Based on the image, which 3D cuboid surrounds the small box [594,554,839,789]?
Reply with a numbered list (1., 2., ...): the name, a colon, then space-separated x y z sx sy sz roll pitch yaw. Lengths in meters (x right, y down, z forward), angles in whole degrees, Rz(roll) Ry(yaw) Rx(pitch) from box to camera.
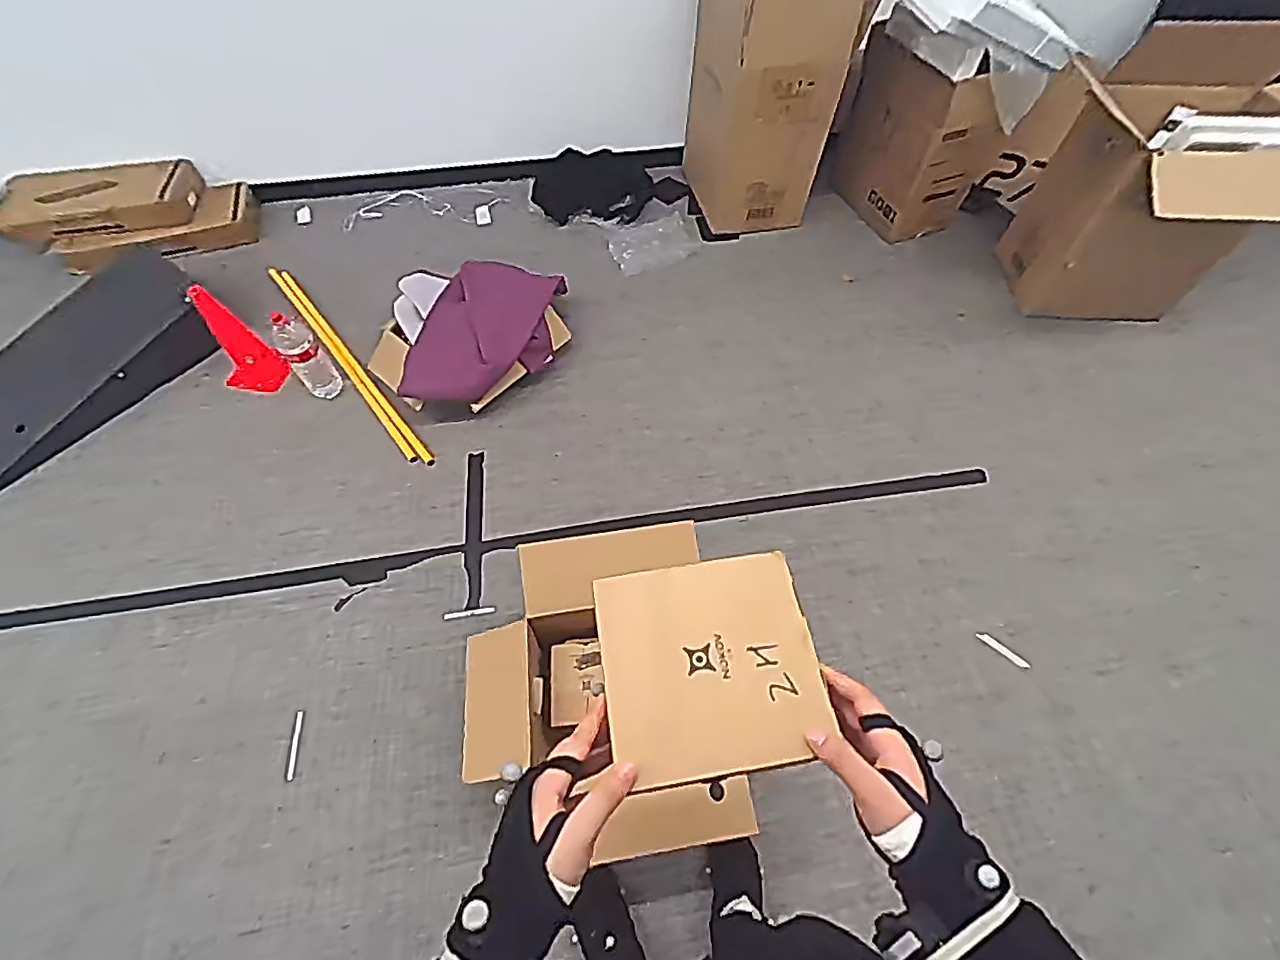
1. small box: 0.057 0.188 0.515 0.179 0.176 0.168 -8 60 -5
